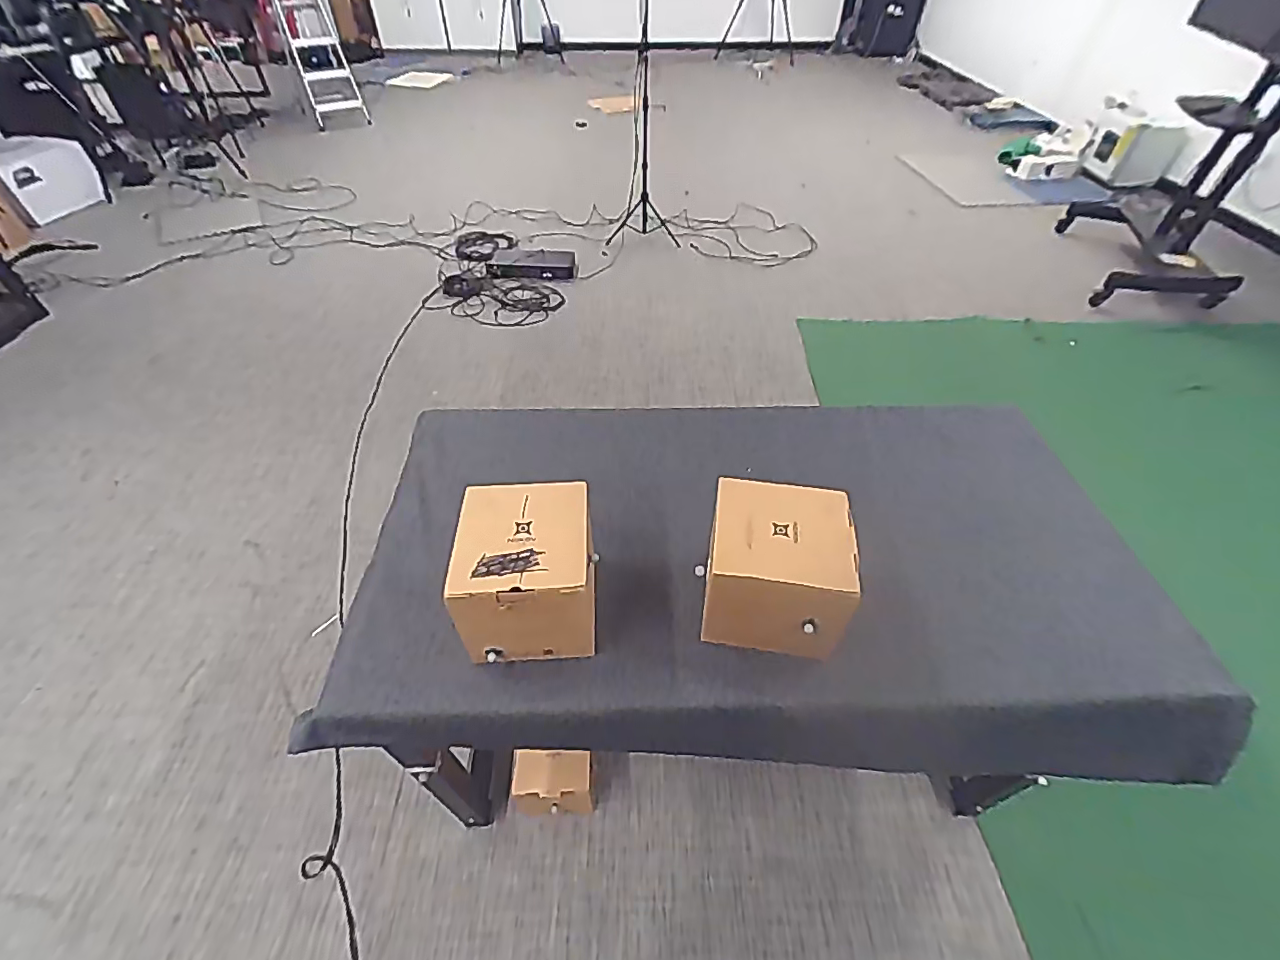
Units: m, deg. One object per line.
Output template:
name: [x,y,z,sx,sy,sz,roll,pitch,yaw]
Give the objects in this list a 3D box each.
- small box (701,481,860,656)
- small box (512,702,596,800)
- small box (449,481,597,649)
small box: [0.185,0.125,0.751,0.179,0.176,0.168,7,46,7]
small box: [-0.192,0.636,1.264,0.168,0.176,0.179,0,48,-1]
small box: [-0.145,0.121,0.745,0.168,0.176,0.179,-1,45,-3]
